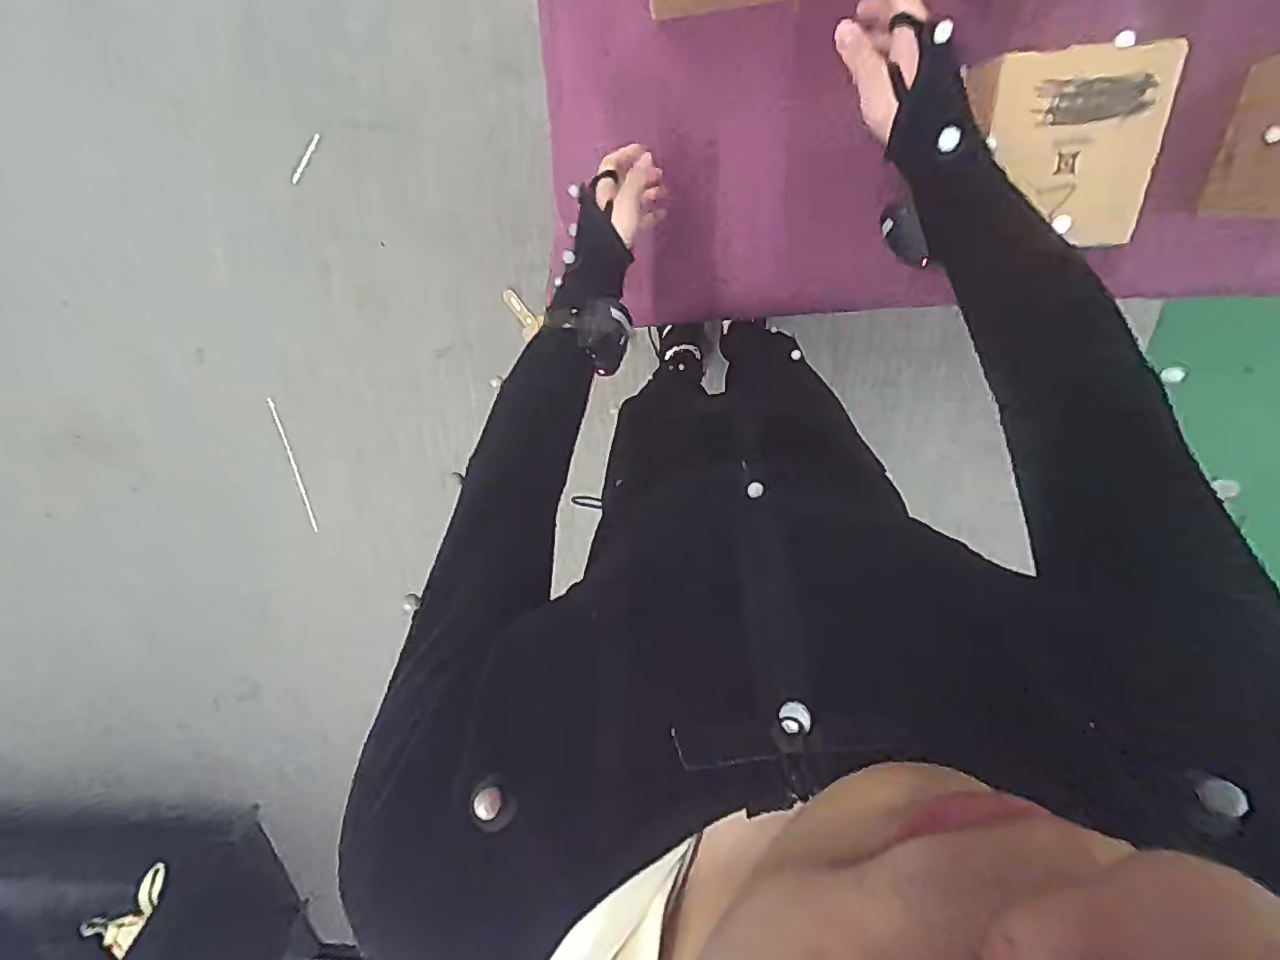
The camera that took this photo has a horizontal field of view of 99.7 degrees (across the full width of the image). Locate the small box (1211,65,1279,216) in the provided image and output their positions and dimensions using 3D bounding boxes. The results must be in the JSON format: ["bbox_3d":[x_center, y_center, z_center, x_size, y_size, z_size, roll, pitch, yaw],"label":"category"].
[{"bbox_3d":[0.784,-0.370,0.566,0.179,0.176,0.168,1,116,4],"label":"small box"}]

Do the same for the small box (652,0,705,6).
[{"bbox_3d":[0.082,-0.582,0.507,0.179,0.176,0.168,-3,116,6],"label":"small box"}]
